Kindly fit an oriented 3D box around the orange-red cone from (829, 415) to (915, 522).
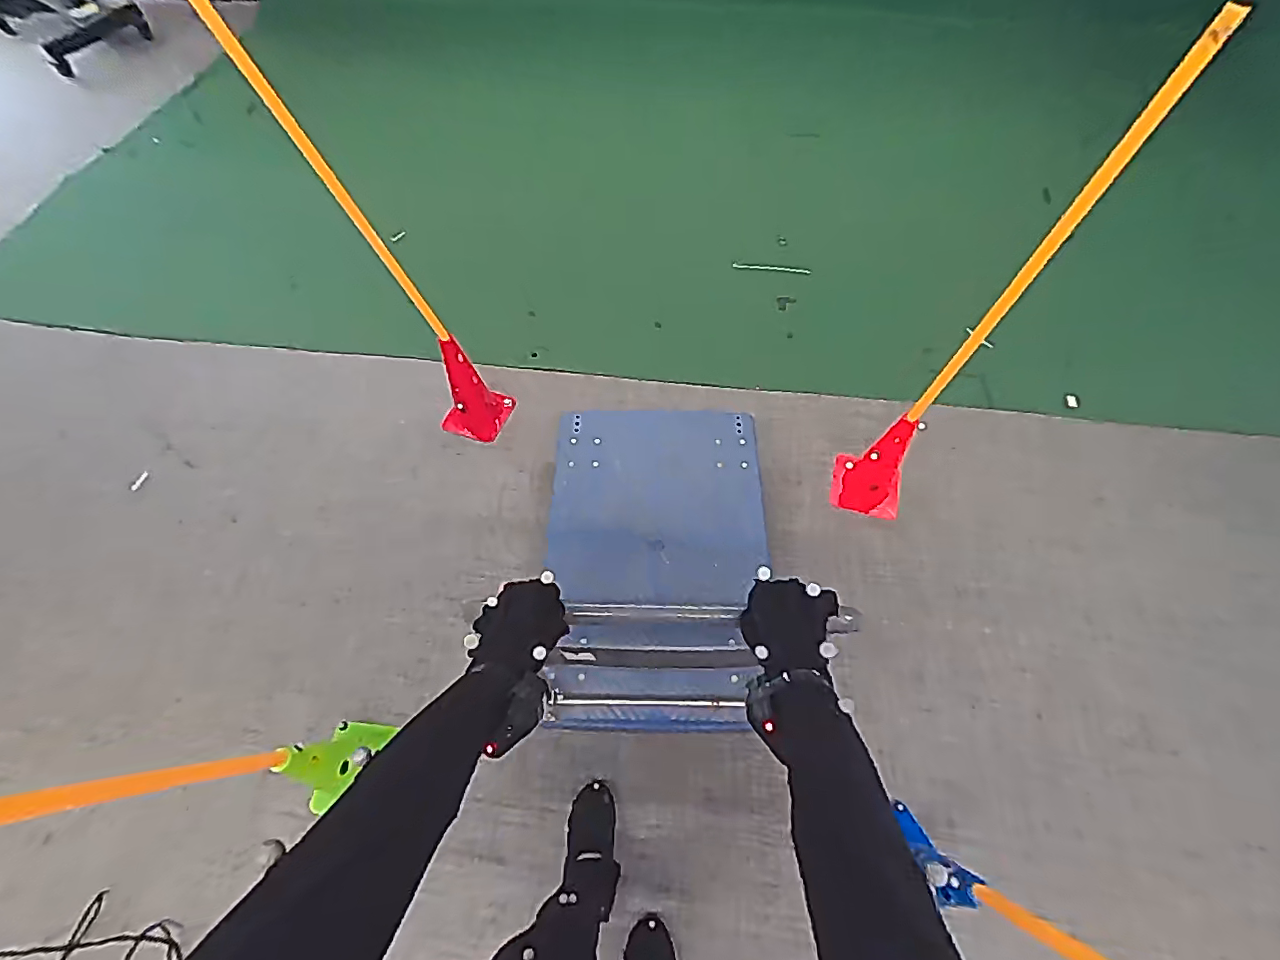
[{"bbox_3d":[0.693,-0.060,1.532,0.198,0.360,0.199,15,61,11],"label":"orange-red cone"}]
